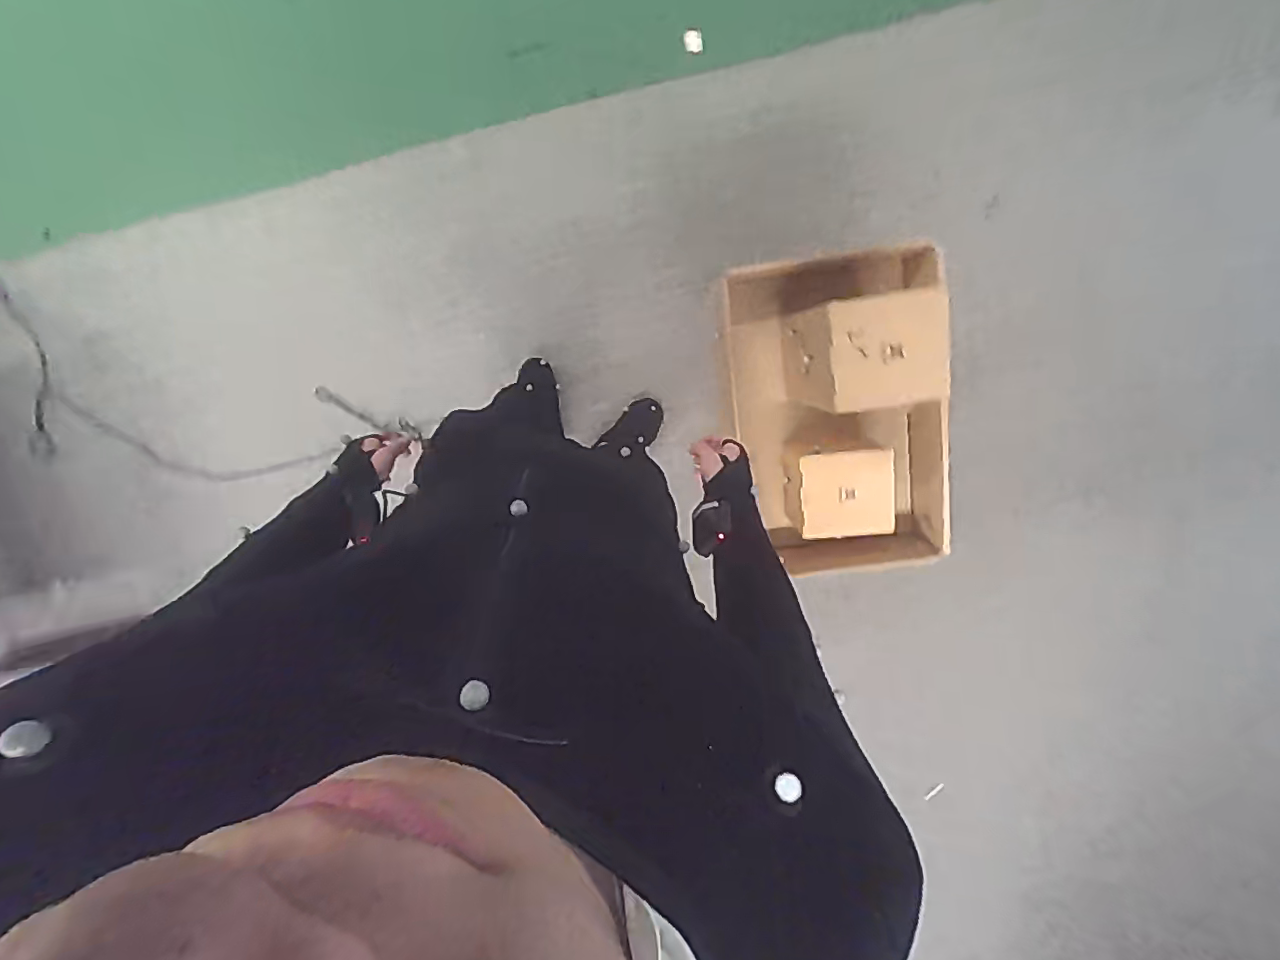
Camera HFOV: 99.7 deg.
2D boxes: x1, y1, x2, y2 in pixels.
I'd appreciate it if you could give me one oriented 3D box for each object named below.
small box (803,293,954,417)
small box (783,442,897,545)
[{"bbox_3d":[0.377,-0.201,0.876,0.179,0.176,0.168,-7,102,4],"label":"small box"},{"bbox_3d":[0.398,0.021,1.097,0.179,0.176,0.168,-5,103,5],"label":"small box"}]
